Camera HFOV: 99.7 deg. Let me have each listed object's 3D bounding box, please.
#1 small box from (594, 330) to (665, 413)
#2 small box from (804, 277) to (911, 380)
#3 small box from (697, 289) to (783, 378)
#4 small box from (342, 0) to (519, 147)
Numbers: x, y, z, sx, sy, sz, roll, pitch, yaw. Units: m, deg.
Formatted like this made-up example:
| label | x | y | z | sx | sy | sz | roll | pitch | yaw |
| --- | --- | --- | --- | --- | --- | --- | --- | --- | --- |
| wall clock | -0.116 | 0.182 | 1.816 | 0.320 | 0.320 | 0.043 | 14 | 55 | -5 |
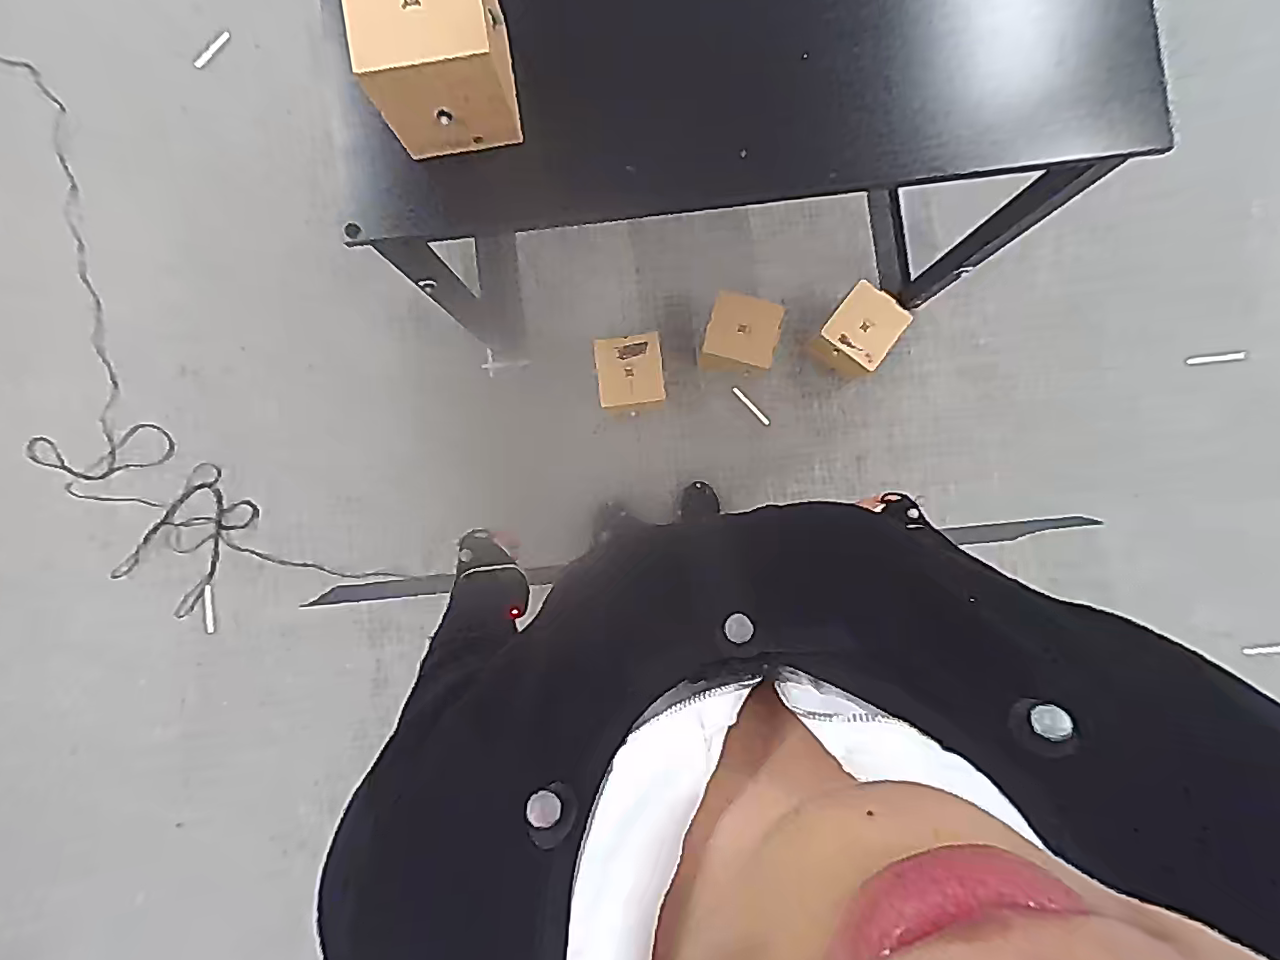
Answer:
| label | x | y | z | sx | sy | sz | roll | pitch | yaw |
| --- | --- | --- | --- | --- | --- | --- | --- | --- | --- |
| small box | -0.027 | -0.282 | 1.436 | 0.168 | 0.176 | 0.179 | -7 | 90 | 1 |
| small box | 0.561 | -0.389 | 1.423 | 0.168 | 0.176 | 0.179 | 37 | 90 | 2 |
| small box | 0.258 | -0.380 | 1.433 | 0.179 | 0.176 | 0.168 | 15 | 89 | 3 |
| small box | -0.267 | -0.572 | 0.714 | 0.168 | 0.176 | 0.179 | -9 | 88 | 0 |
